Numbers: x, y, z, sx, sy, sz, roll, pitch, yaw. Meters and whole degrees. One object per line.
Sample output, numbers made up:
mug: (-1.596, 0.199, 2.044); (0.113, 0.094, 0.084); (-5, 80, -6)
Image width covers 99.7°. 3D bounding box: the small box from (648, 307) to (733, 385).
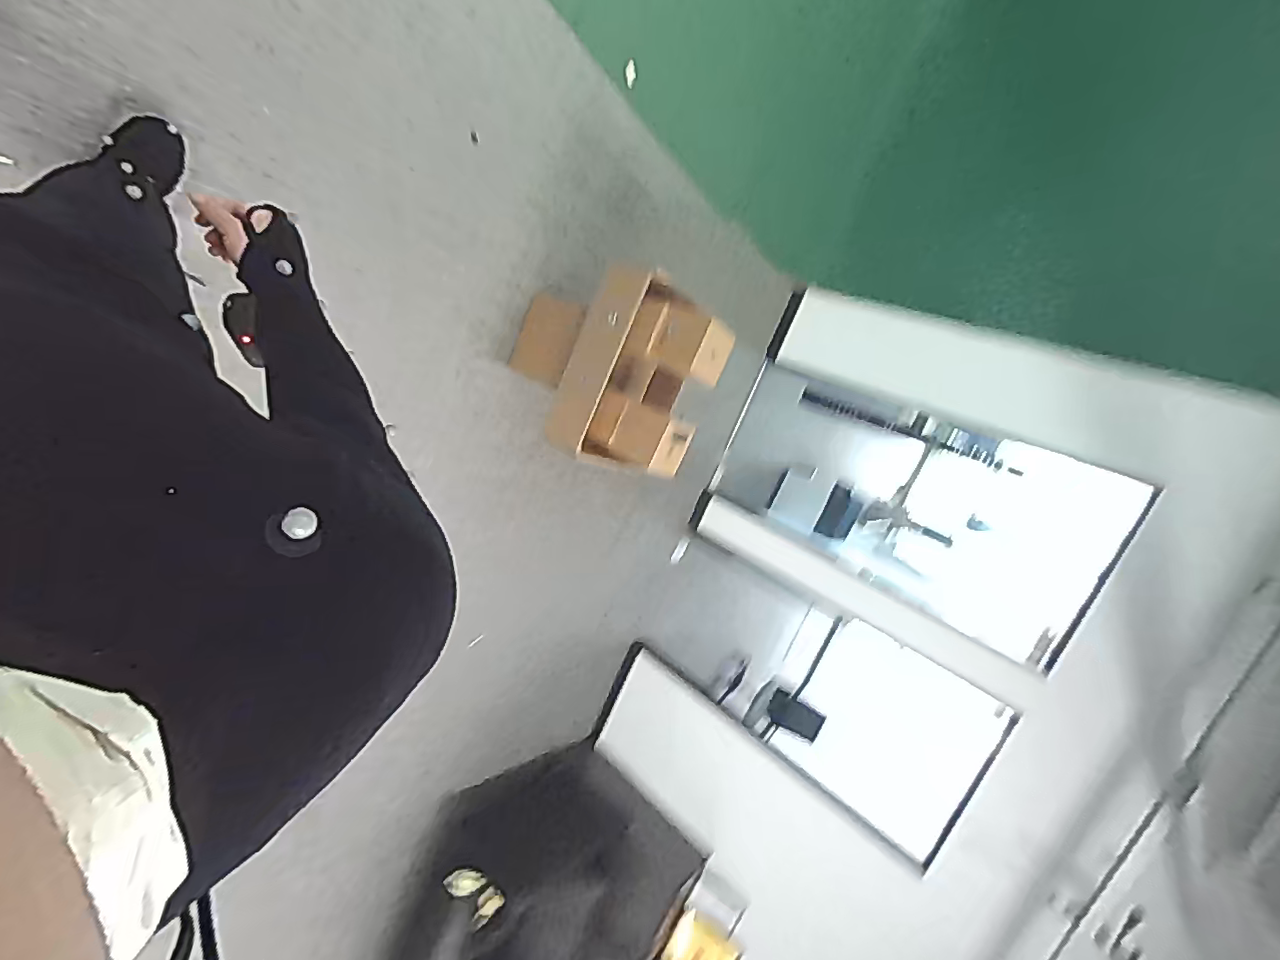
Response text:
small box: (0.157, -0.419, 1.683); (0.179, 0.176, 0.168); (16, 100, -57)
